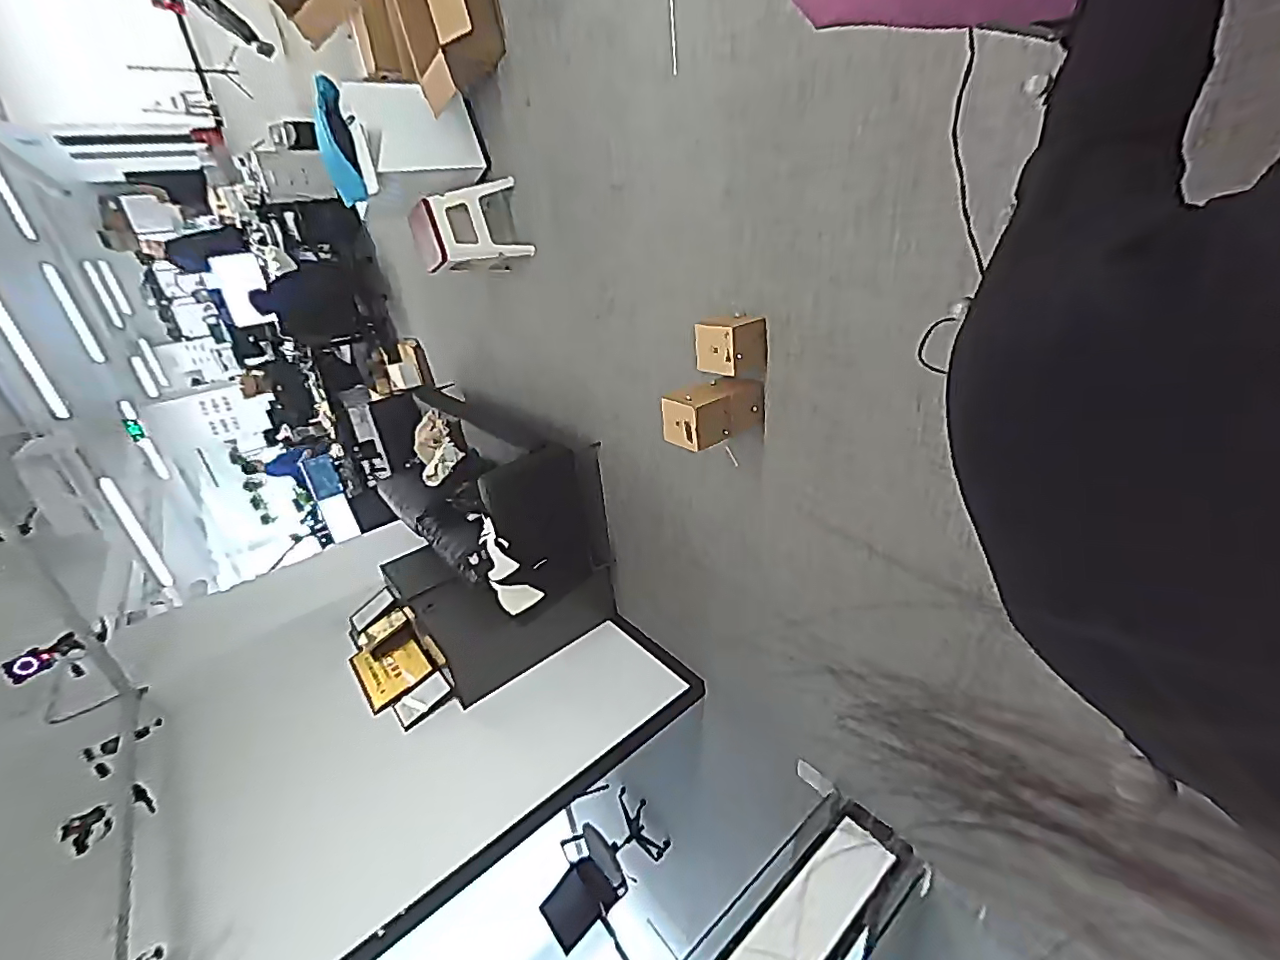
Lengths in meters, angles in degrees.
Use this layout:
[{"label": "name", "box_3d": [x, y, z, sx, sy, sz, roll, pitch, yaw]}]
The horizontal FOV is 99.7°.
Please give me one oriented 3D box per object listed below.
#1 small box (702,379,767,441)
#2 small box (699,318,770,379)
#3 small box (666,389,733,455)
[{"label": "small box", "box_3d": [0.346, -0.266, 1.992, 0.179, 0.176, 0.168, 27, 133, 45]}, {"label": "small box", "box_3d": [0.330, -0.464, 1.881, 0.179, 0.176, 0.168, 24, 130, 47]}, {"label": "small box", "box_3d": [0.215, -0.211, 1.911, 0.179, 0.176, 0.168, 26, 131, 47]}]
